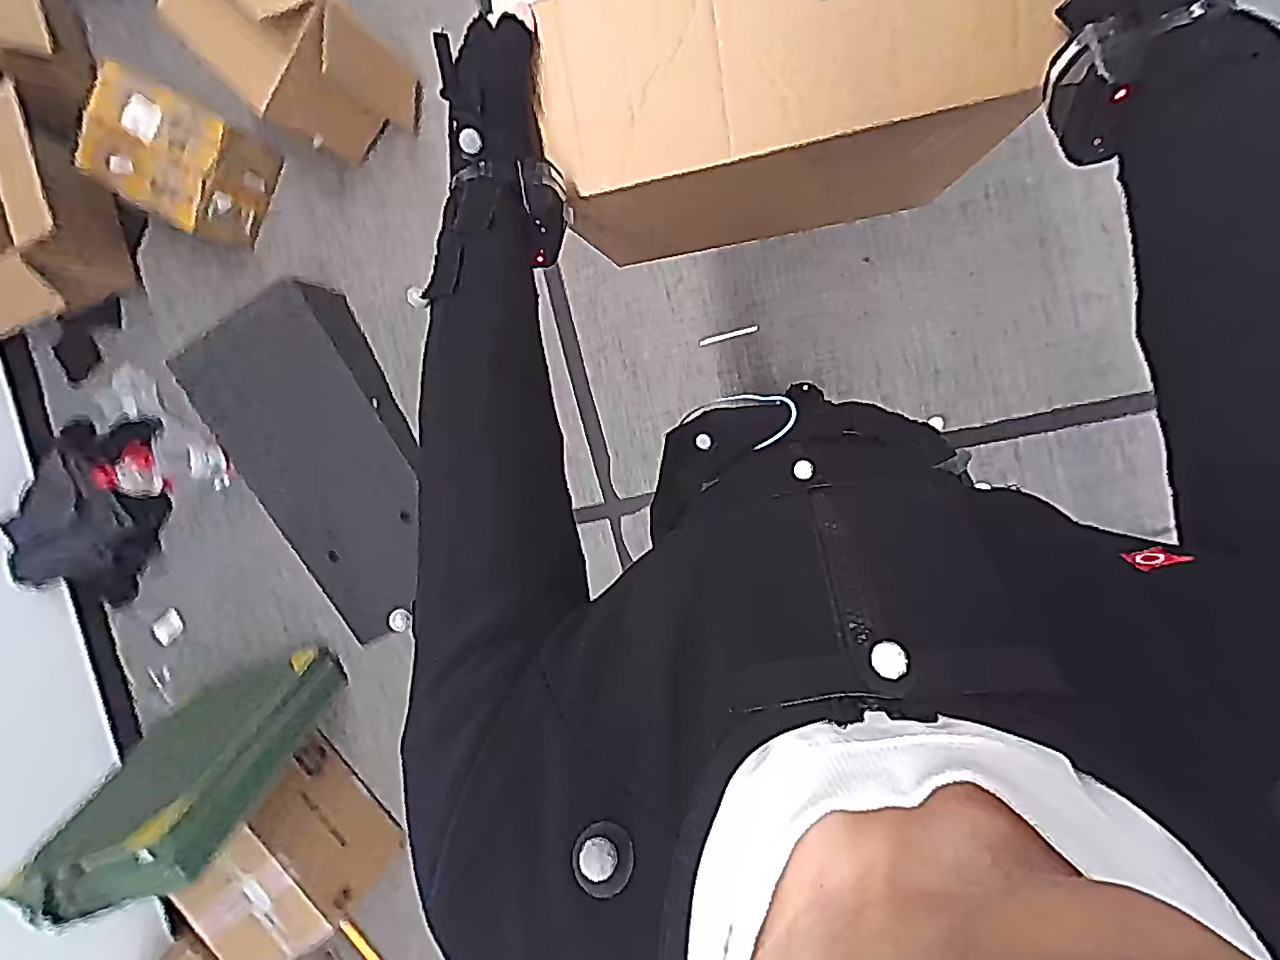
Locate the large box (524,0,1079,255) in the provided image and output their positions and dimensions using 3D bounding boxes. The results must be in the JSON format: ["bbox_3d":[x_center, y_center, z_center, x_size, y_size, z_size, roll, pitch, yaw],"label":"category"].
[{"bbox_3d":[0.120,-0.450,0.541,0.408,0.320,0.320,-7,102,11],"label":"large box"}]
